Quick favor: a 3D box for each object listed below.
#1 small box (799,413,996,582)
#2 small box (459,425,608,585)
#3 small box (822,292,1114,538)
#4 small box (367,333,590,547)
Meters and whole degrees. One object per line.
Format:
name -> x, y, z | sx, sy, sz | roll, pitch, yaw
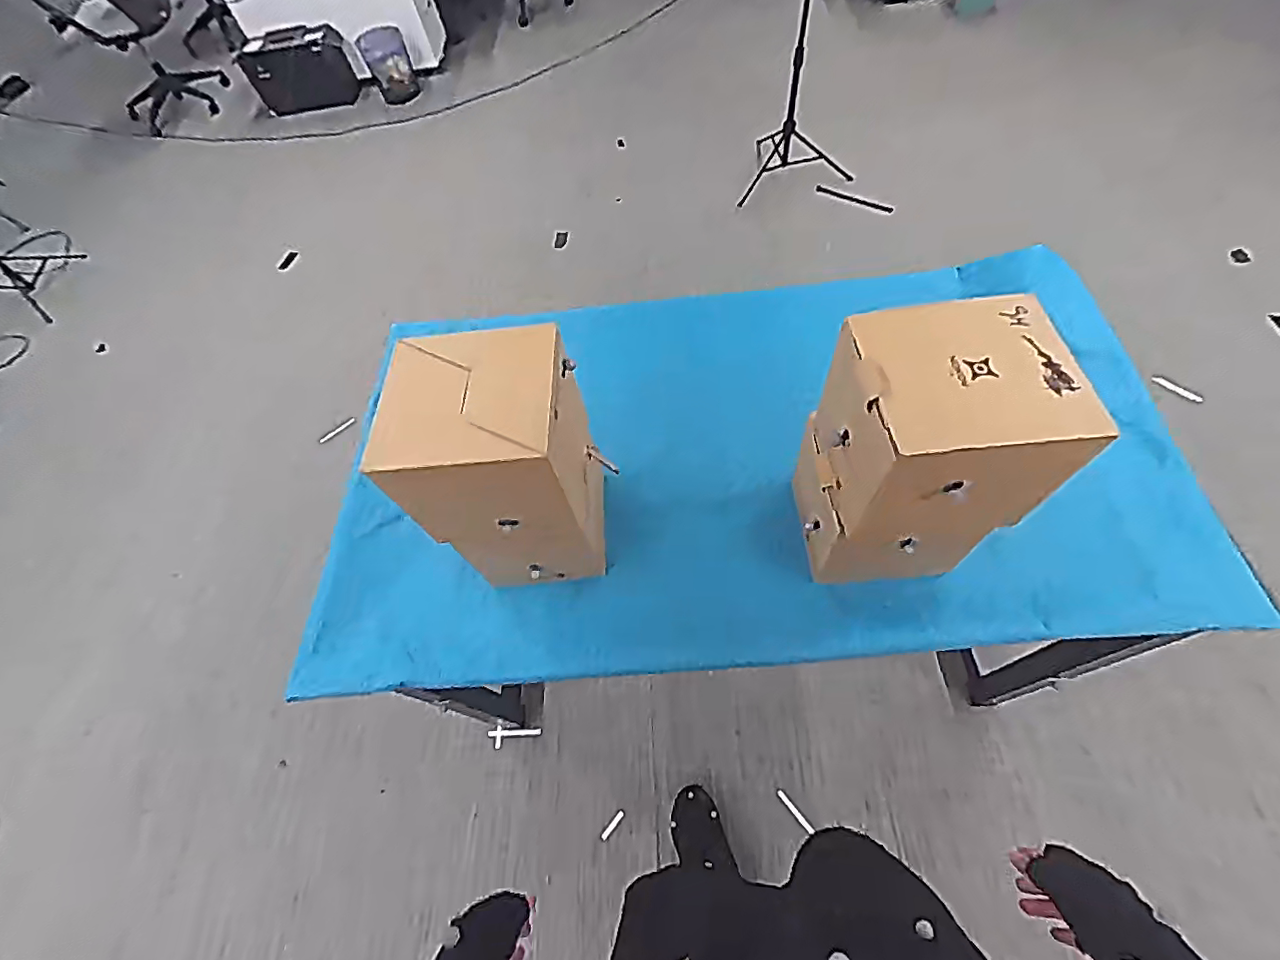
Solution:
small box -> 0.305, 0.022, 0.682 | 0.179, 0.176, 0.168 | -6, 60, 5
small box -> -0.141, 0.034, 0.742 | 0.168, 0.176, 0.179 | -4, 62, 7
small box -> 0.292, -0.054, 0.539 | 0.179, 0.176, 0.168 | -9, 59, 3
small box -> -0.158, -0.039, 0.592 | 0.179, 0.176, 0.168 | -4, 59, 5
